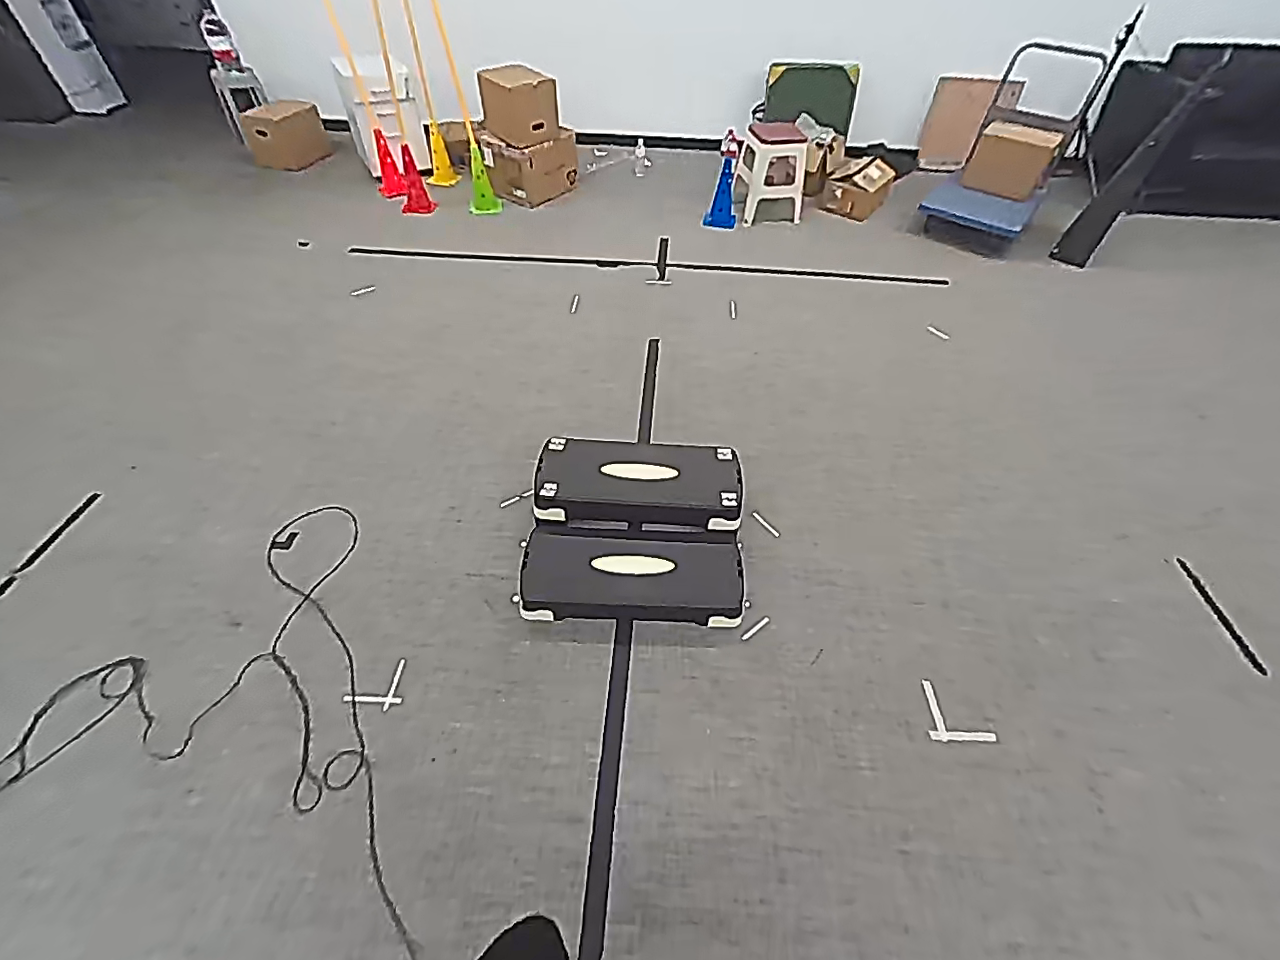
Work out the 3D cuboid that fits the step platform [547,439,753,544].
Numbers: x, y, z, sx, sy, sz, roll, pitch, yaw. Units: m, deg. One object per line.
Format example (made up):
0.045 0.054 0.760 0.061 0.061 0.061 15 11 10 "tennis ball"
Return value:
0.032 0.033 1.819 0.684 0.204 0.286 3 49 -1 "step platform"
